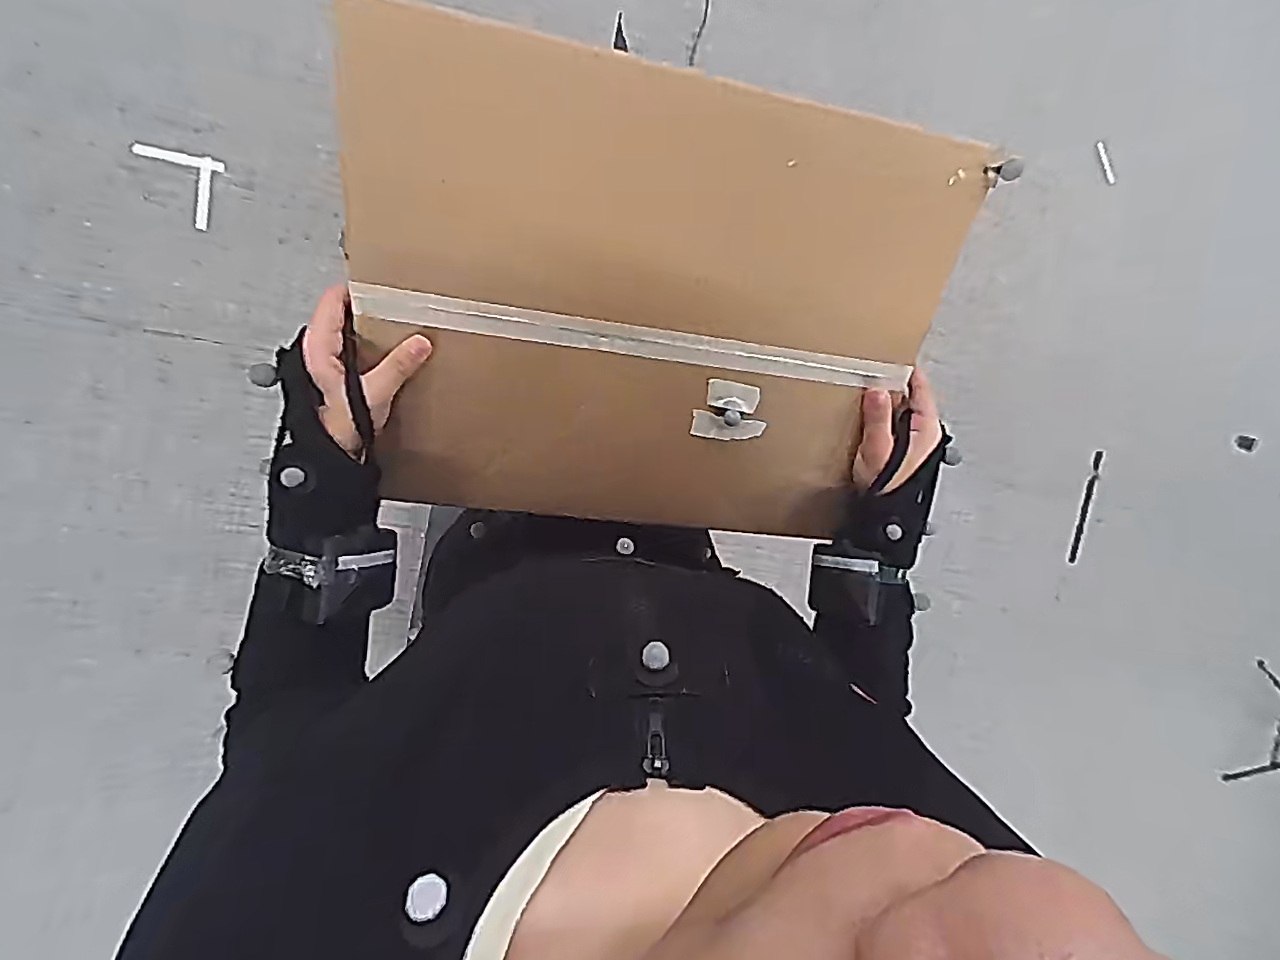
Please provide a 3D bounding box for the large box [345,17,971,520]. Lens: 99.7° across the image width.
[{"bbox_3d":[-0.011,-0.181,0.528,0.408,0.320,0.320,5,120,-11],"label":"large box"}]
